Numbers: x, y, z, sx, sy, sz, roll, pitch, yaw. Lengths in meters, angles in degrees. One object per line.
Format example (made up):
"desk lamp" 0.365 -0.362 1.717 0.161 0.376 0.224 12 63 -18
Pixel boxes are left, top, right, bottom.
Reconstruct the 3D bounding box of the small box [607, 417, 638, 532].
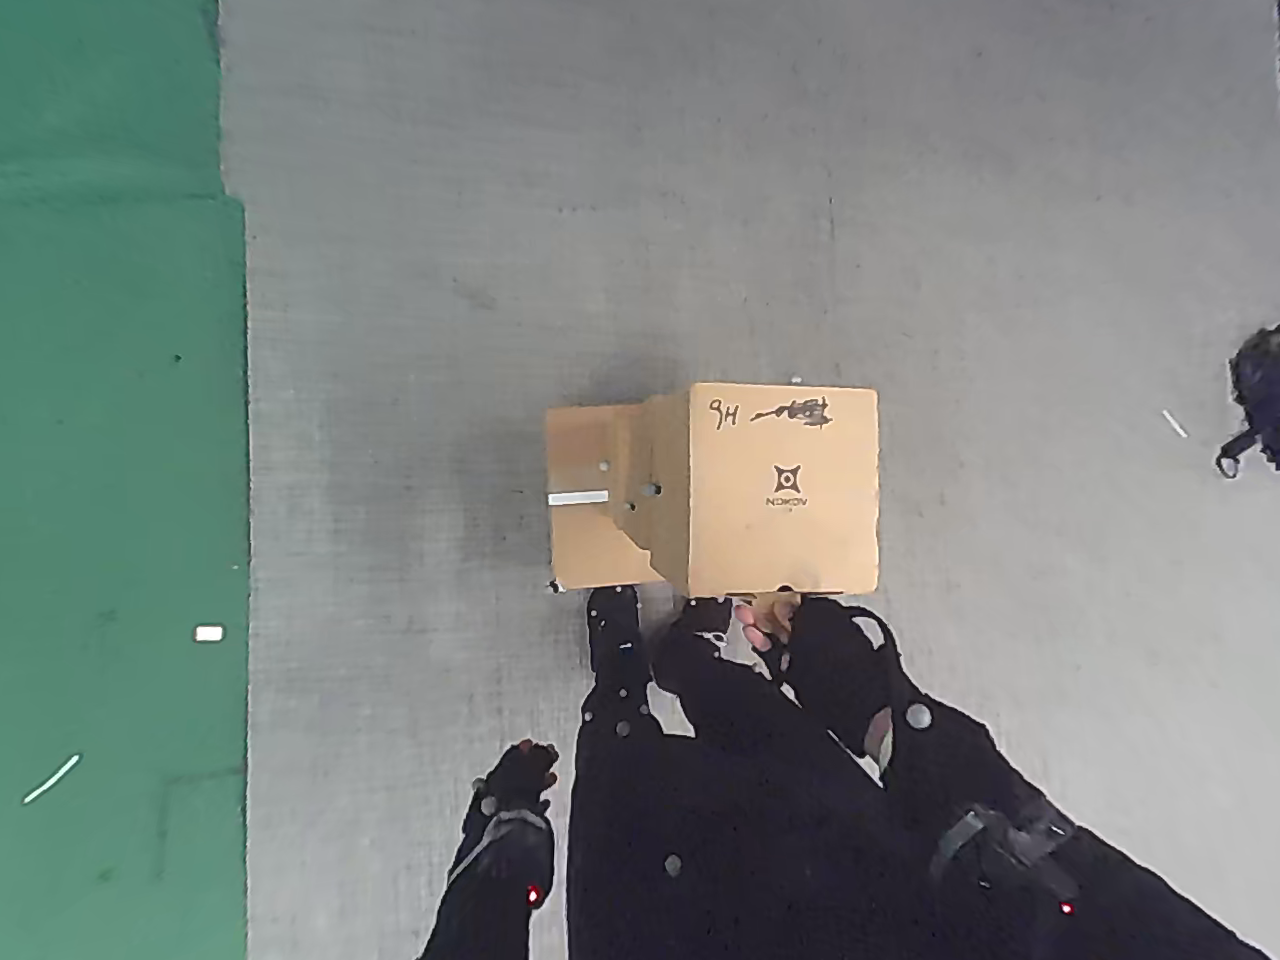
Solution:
"small box" 0.047 -0.003 0.853 0.179 0.176 0.168 4 89 -9

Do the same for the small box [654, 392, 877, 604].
"small box" 0.109 0.016 0.532 0.168 0.176 0.179 1 89 -9

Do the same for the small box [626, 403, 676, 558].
"small box" 0.077 0.005 0.696 0.168 0.176 0.179 4 89 -10
